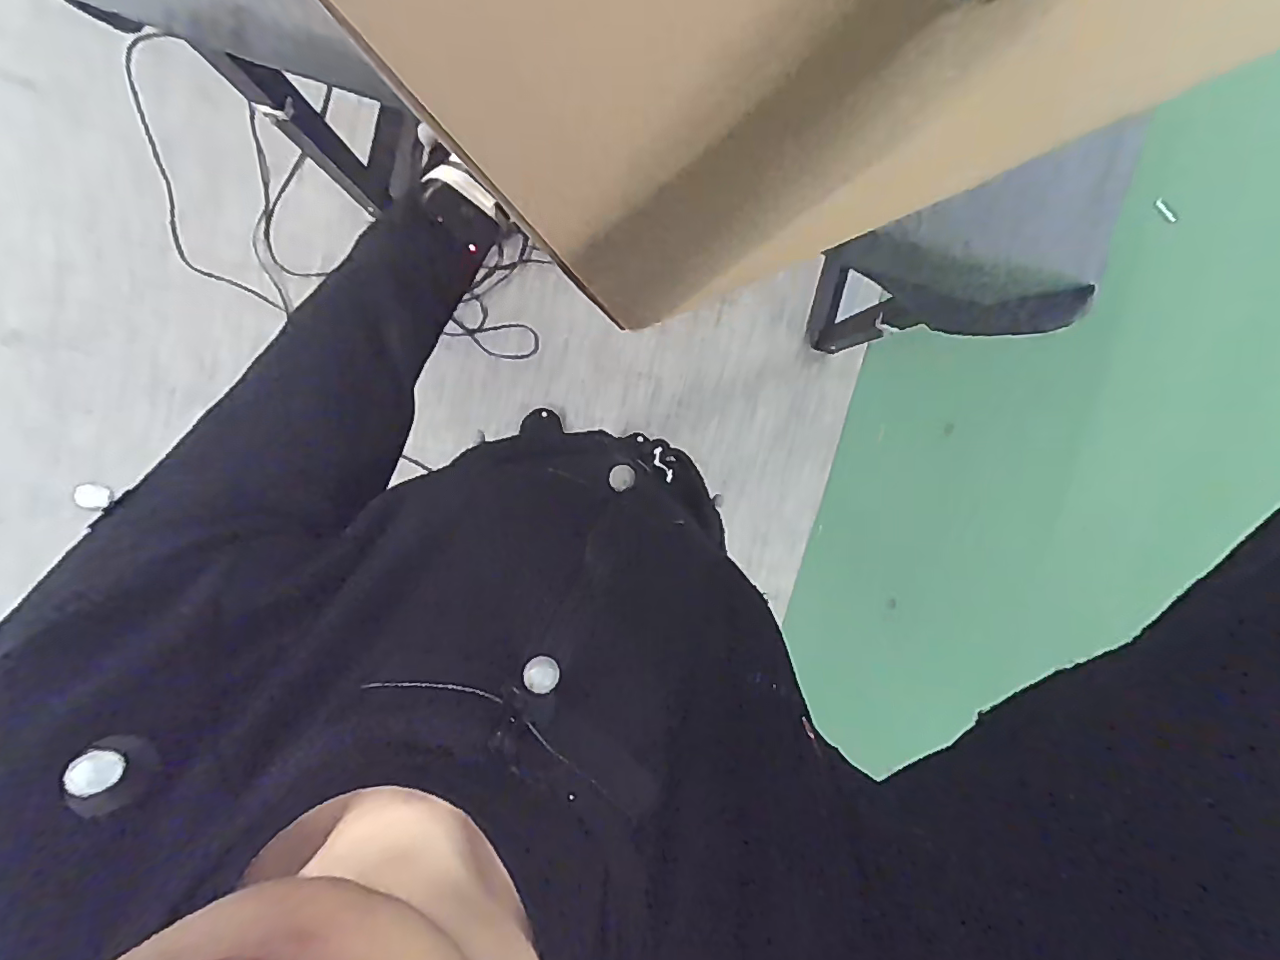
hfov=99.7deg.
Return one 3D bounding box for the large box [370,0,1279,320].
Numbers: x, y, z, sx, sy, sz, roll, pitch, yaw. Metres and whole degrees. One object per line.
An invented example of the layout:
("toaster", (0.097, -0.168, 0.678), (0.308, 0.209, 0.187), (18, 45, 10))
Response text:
("large box", (0.090, -0.342, 0.242), (0.408, 0.320, 0.320), (-21, 73, 18))
